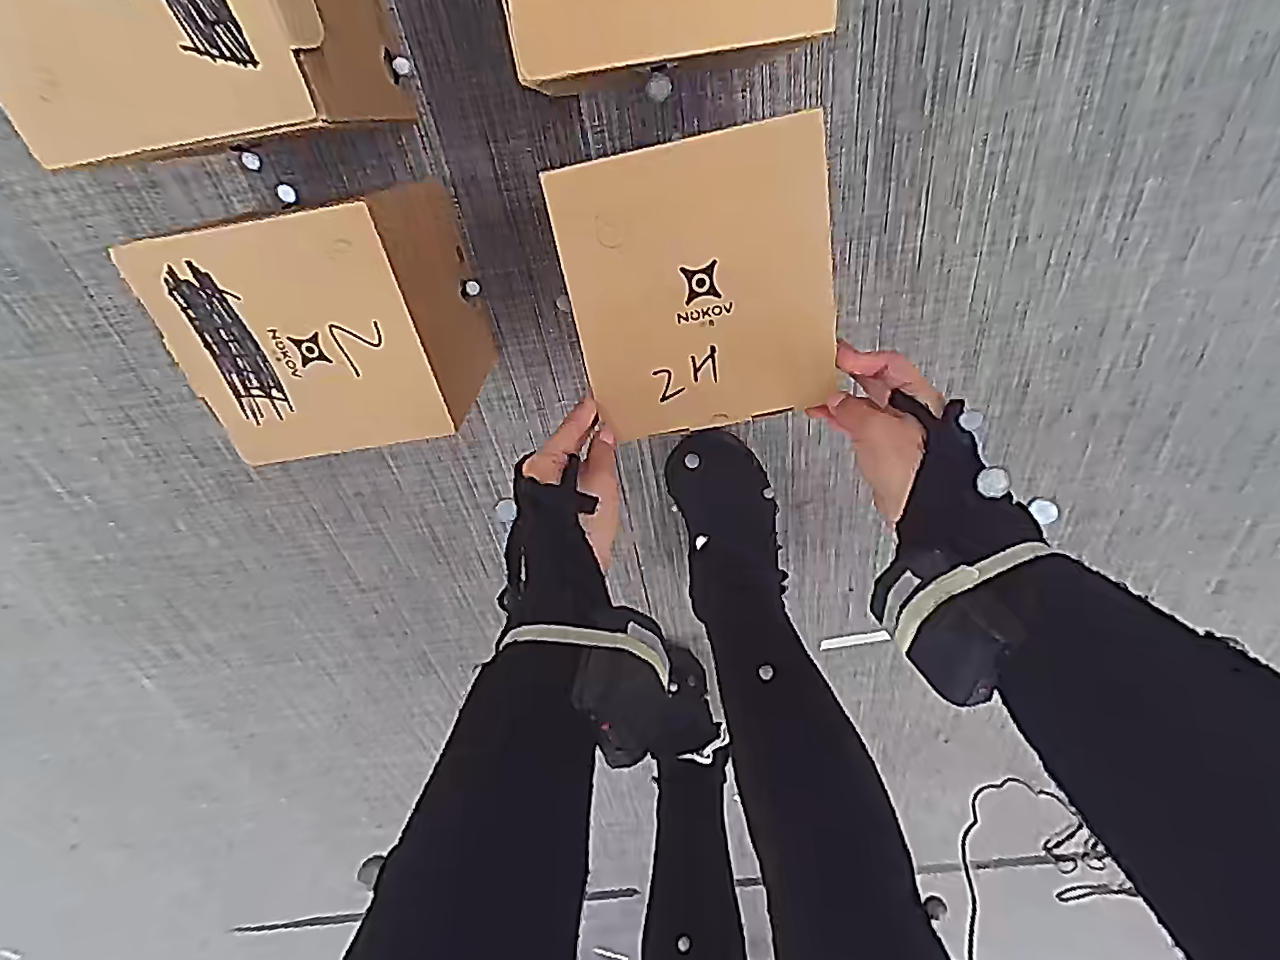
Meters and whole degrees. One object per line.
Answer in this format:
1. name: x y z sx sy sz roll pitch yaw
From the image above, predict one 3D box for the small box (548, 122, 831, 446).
1. small box: 0.039 -0.148 0.423 0.168 0.176 0.179 -10 115 6
